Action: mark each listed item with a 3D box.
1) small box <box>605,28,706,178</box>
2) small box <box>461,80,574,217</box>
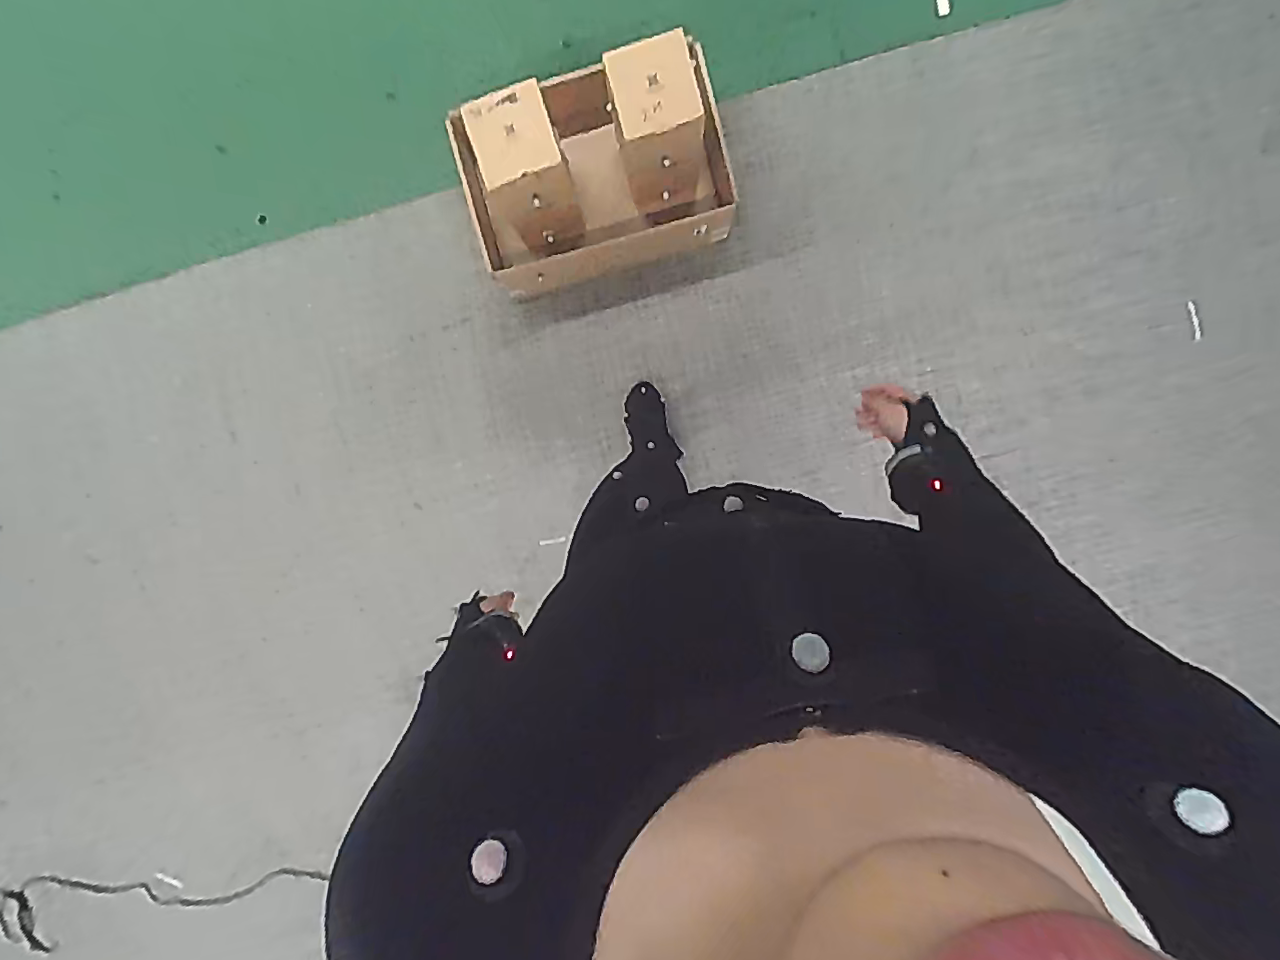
[{"bbox_3d":[0.033,-0.776,1.132,0.168,0.176,0.179,-15,94,4],"label":"small box"},{"bbox_3d":[-0.250,-0.686,1.150,0.168,0.176,0.179,-18,94,3],"label":"small box"}]
